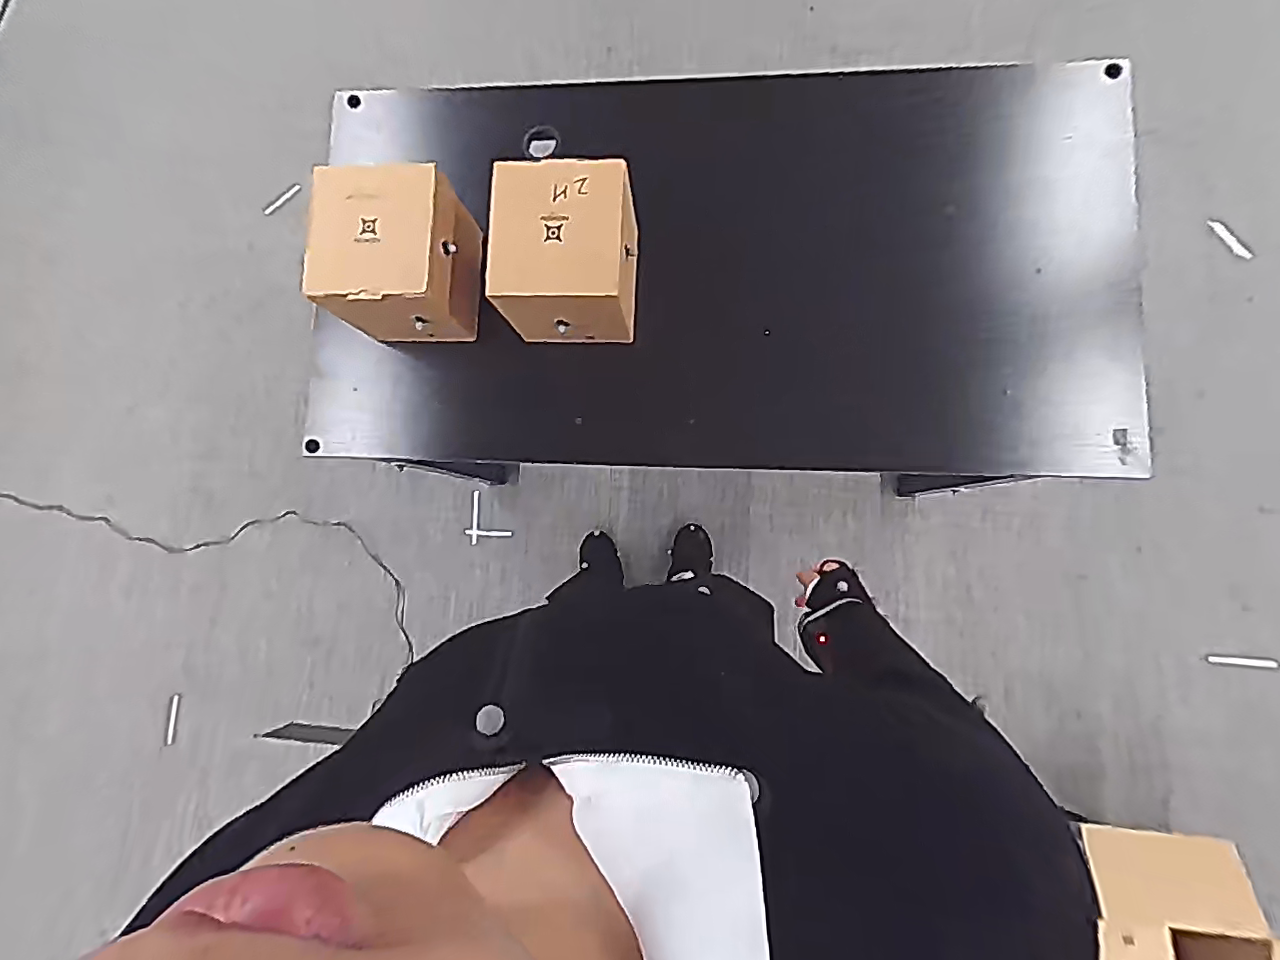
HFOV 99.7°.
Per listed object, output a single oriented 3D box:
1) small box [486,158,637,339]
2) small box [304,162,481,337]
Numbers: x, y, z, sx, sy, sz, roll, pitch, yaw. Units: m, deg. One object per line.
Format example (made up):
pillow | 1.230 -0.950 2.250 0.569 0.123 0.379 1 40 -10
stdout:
small box | -0.096 -0.301 0.736 0.168 0.176 0.179 2 85 5
small box | -0.334 -0.311 0.761 0.168 0.176 0.179 1 84 4
